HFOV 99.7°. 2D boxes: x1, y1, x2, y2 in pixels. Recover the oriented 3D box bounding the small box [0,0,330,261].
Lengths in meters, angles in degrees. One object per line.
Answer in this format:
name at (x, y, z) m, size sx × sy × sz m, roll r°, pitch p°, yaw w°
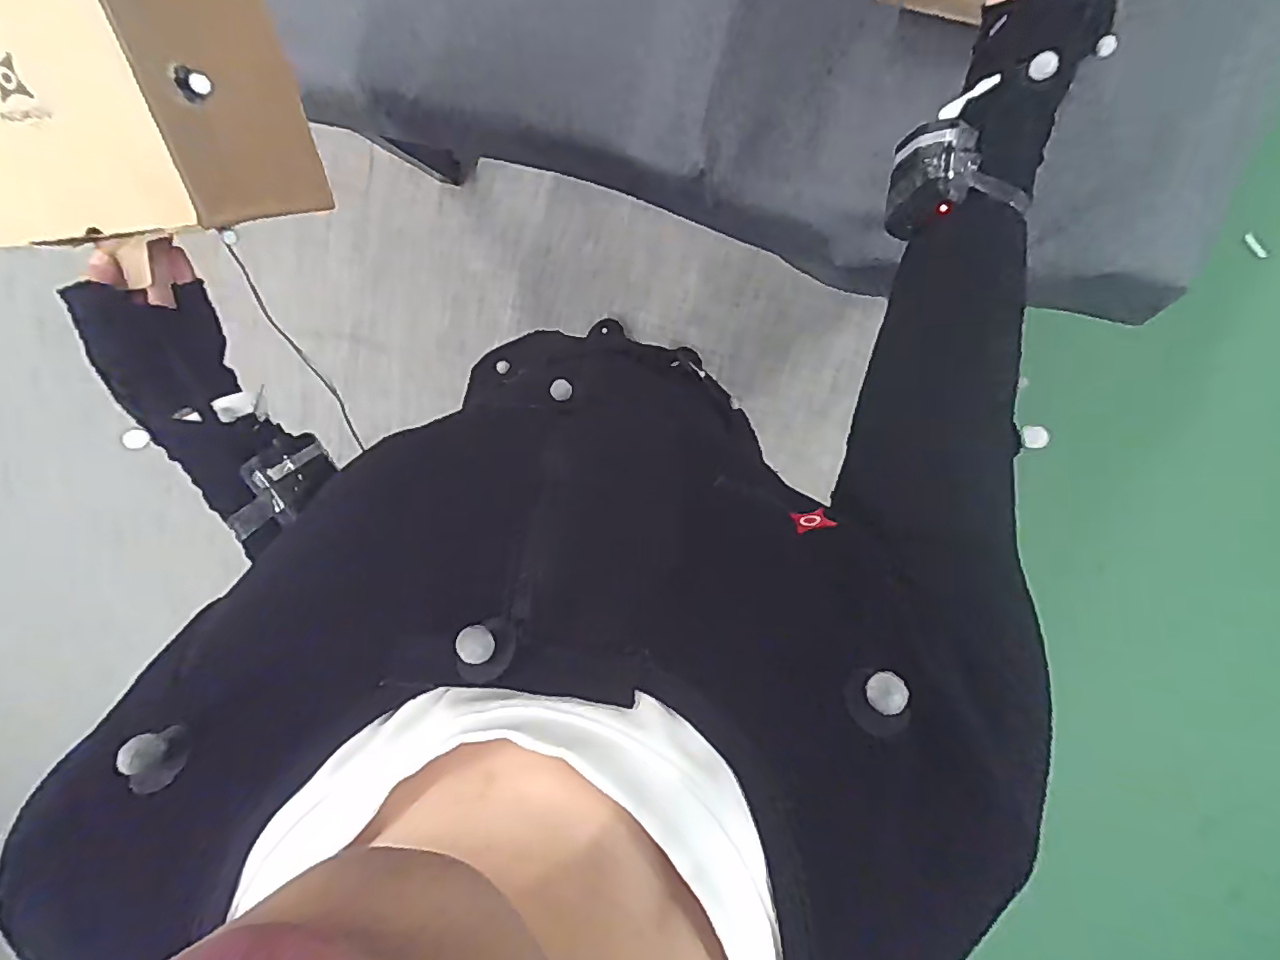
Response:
small box at (-0.370, -0.273, 0.396) m, size 0.168 × 0.176 × 0.179 m, roll -4°, pitch 119°, yaw 6°
